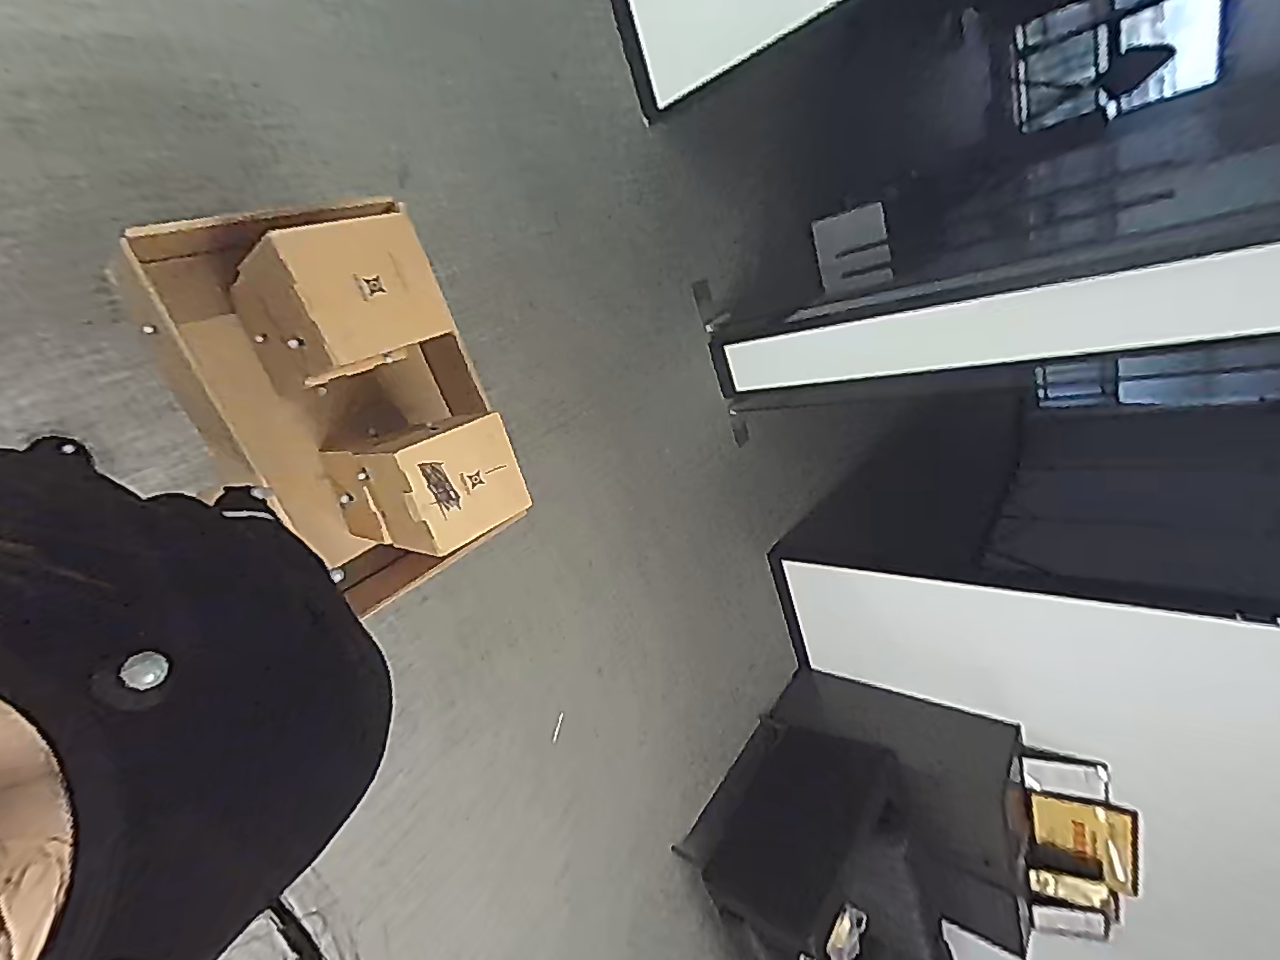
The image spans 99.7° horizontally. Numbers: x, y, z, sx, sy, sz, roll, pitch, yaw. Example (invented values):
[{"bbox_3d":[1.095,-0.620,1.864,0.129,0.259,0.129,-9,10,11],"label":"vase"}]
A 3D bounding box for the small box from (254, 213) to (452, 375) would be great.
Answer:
[{"bbox_3d":[-0.409,-0.257,0.763,0.179,0.176,0.168,-36,117,-40],"label":"small box"}]

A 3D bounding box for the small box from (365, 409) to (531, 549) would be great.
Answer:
[{"bbox_3d":[-0.314,-0.006,0.871,0.179,0.176,0.168,-33,115,-41],"label":"small box"}]
